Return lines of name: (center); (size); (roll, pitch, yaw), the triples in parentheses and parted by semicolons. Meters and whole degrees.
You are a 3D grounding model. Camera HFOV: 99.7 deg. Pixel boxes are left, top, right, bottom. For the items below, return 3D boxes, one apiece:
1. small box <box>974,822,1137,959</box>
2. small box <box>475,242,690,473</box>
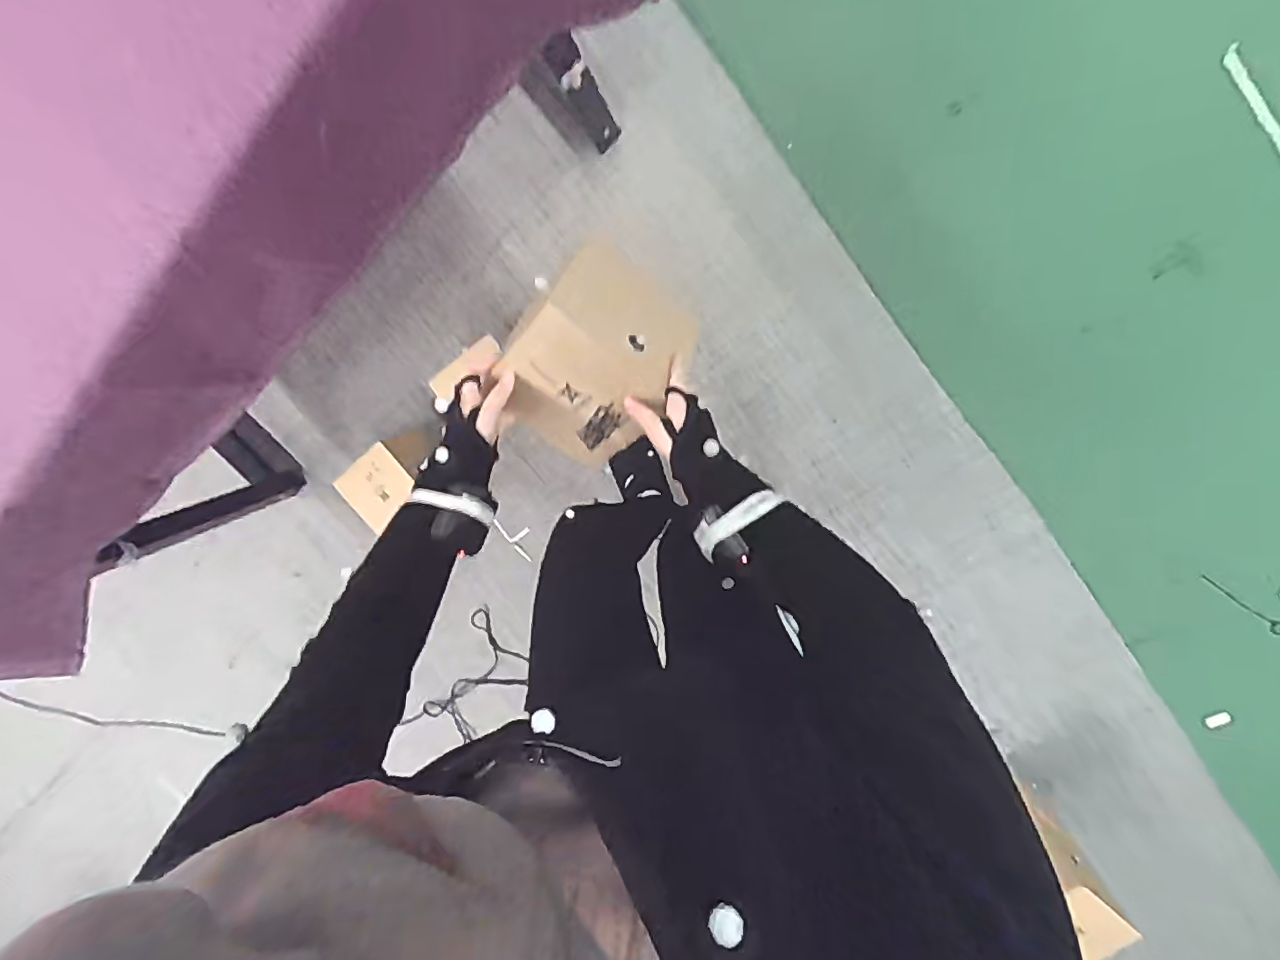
small box: (0.849, 0.859, 1.129); (0.179, 0.176, 0.168); (41, 107, -5)
small box: (-0.059, -0.144, 0.652); (0.179, 0.176, 0.168); (36, 136, -22)
